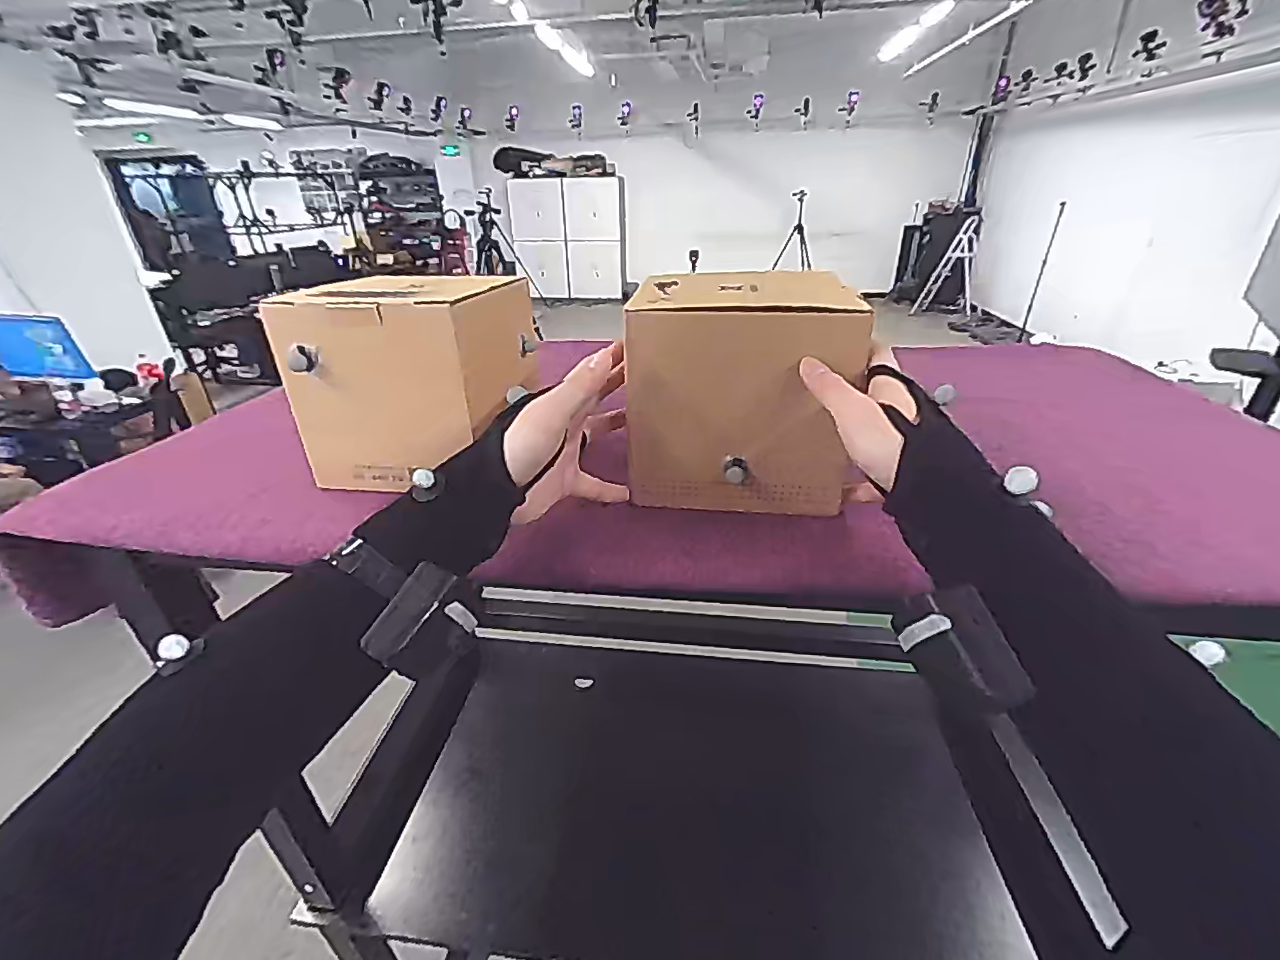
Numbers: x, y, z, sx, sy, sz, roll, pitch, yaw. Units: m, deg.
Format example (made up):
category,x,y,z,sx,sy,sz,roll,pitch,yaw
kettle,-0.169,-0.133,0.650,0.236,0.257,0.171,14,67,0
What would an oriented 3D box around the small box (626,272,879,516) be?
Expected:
category,x,y,z,sx,sy,sz,roll,pitch,yaw
small box,0.087,-0.081,0.479,0.179,0.176,0.168,3,28,7
